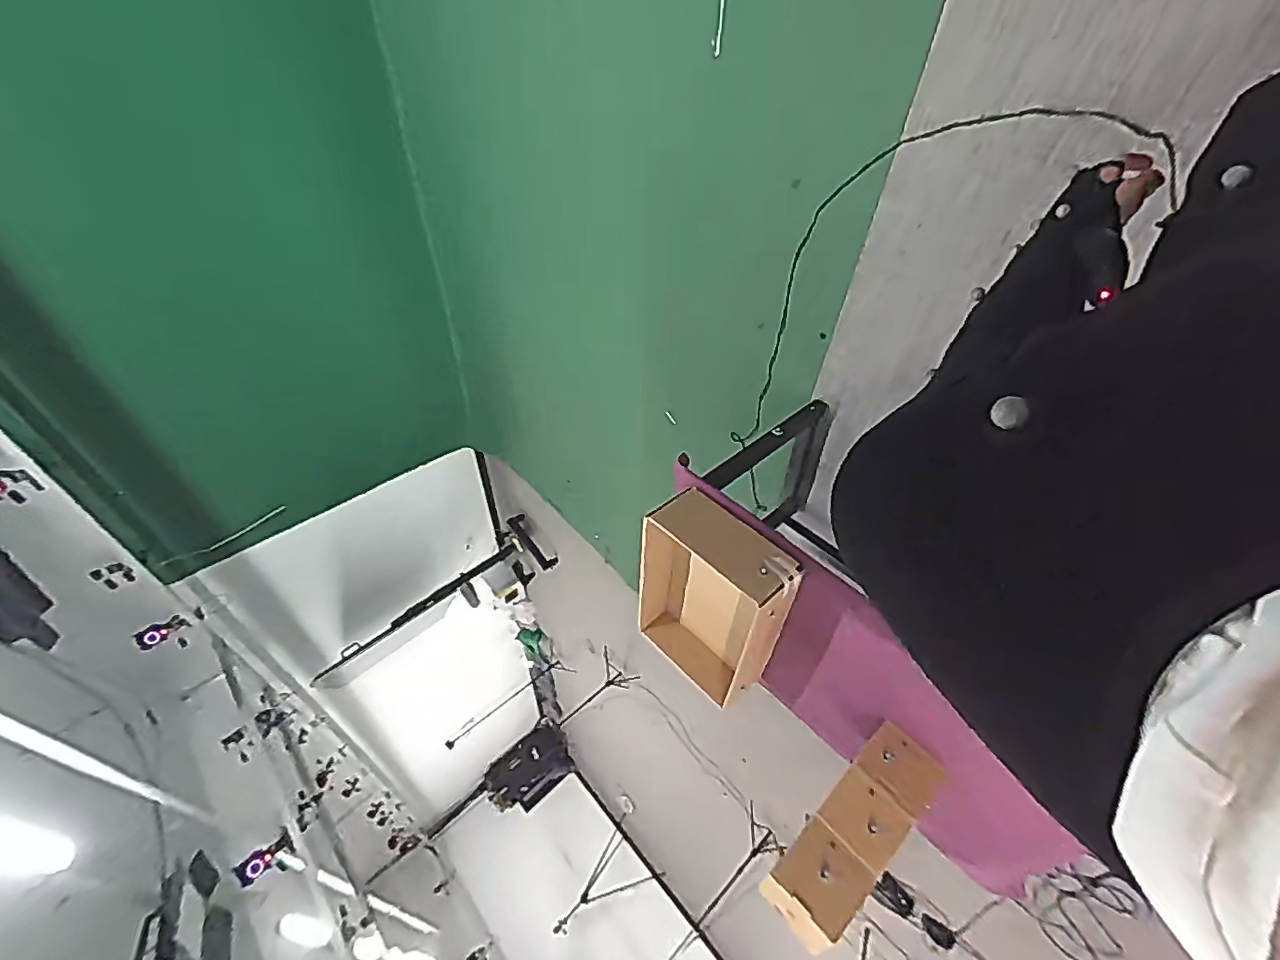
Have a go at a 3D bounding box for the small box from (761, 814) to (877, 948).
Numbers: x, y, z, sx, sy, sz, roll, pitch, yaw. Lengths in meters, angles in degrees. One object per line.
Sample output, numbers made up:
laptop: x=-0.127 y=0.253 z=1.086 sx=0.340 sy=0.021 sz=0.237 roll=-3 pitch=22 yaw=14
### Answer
small box: x=0.405 y=0.900 z=1.223 sx=0.168 sy=0.176 sz=0.179 roll=38 pitch=145 yaw=32

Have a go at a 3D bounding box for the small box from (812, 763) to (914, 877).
small box: x=0.527 y=0.821 z=1.300 sx=0.168 sy=0.176 sz=0.179 roll=38 pitch=146 yaw=31

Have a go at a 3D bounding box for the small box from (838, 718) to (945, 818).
small box: x=0.645 y=0.749 z=1.383 sx=0.168 sy=0.176 sz=0.179 roll=39 pitch=146 yaw=31
